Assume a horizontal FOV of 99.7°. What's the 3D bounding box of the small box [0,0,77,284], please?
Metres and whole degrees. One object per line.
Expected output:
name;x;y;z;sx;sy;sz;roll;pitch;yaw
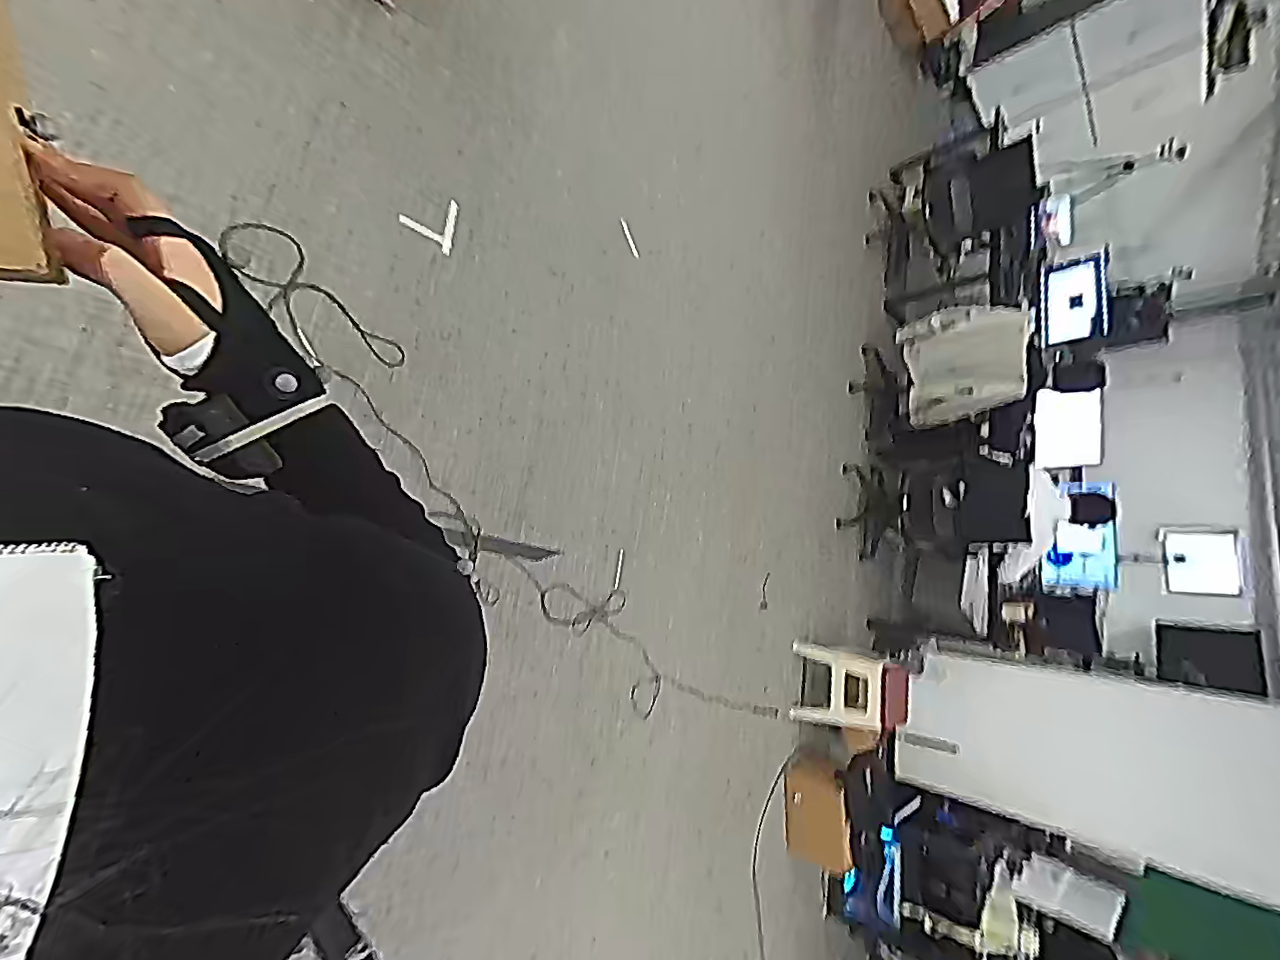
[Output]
small box;-0.396;-0.194;0.252;0.168;0.176;0.179;-10;110;-41
